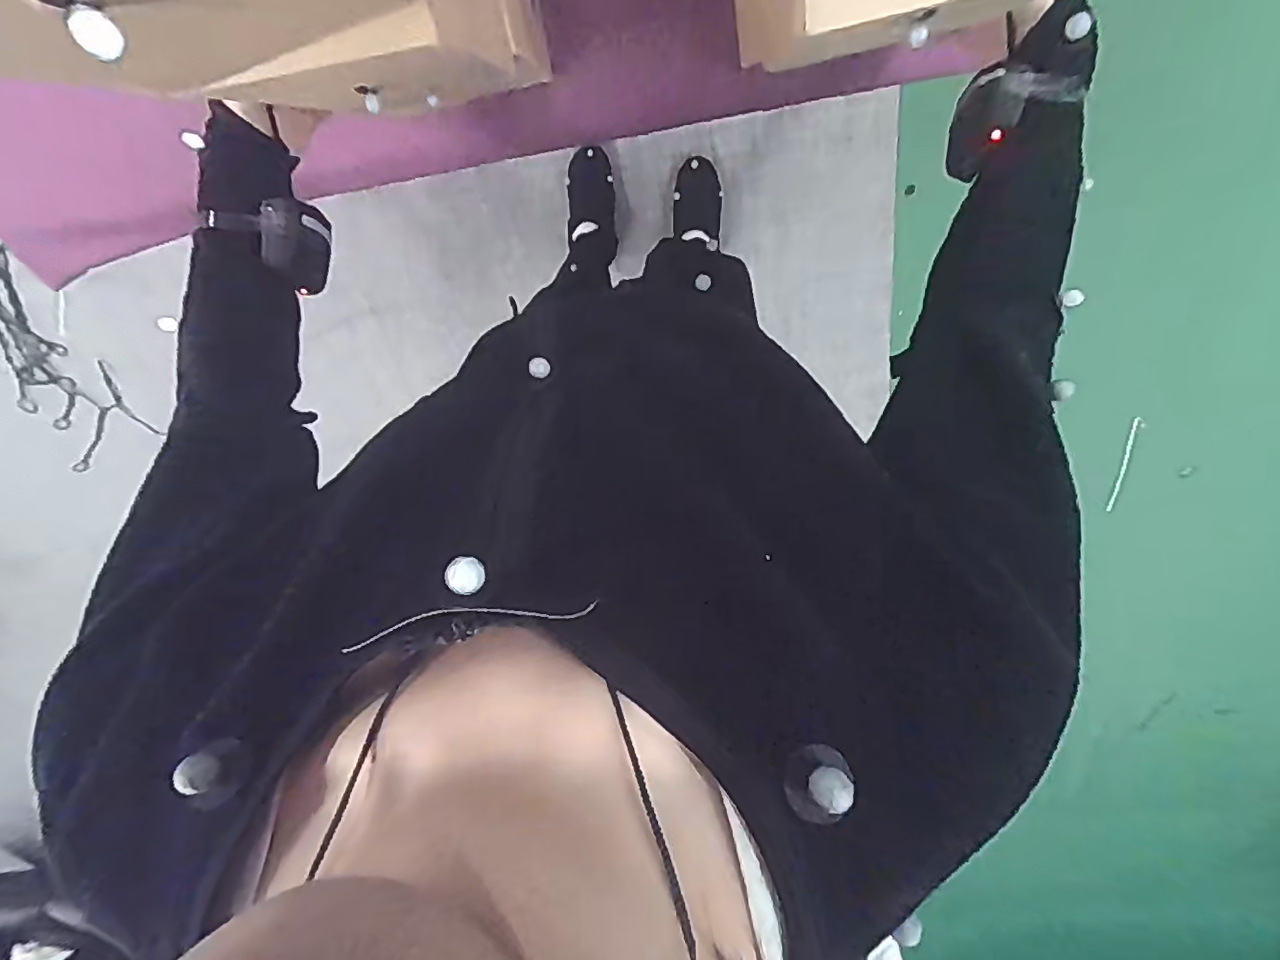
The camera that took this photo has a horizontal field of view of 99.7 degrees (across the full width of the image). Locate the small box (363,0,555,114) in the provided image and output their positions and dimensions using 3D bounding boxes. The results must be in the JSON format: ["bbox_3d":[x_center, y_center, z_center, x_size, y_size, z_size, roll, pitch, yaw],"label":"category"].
[{"bbox_3d":[-0.190,-0.436,0.473,0.179,0.176,0.168,-7,121,8],"label":"small box"}]

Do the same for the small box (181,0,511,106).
[{"bbox_3d":[-0.194,-0.347,0.335,0.168,0.176,0.179,-5,121,7],"label":"small box"}]

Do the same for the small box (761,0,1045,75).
[{"bbox_3d":[0.156,-0.358,0.300,0.168,0.176,0.179,-7,120,9],"label":"small box"}]

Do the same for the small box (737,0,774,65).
[{"bbox_3d":[0.165,-0.459,0.431,0.179,0.176,0.168,-10,121,10],"label":"small box"}]

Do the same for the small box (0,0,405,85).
[{"bbox_3d":[-0.208,-0.267,0.194,0.179,0.176,0.168,-10,121,12],"label":"small box"}]
